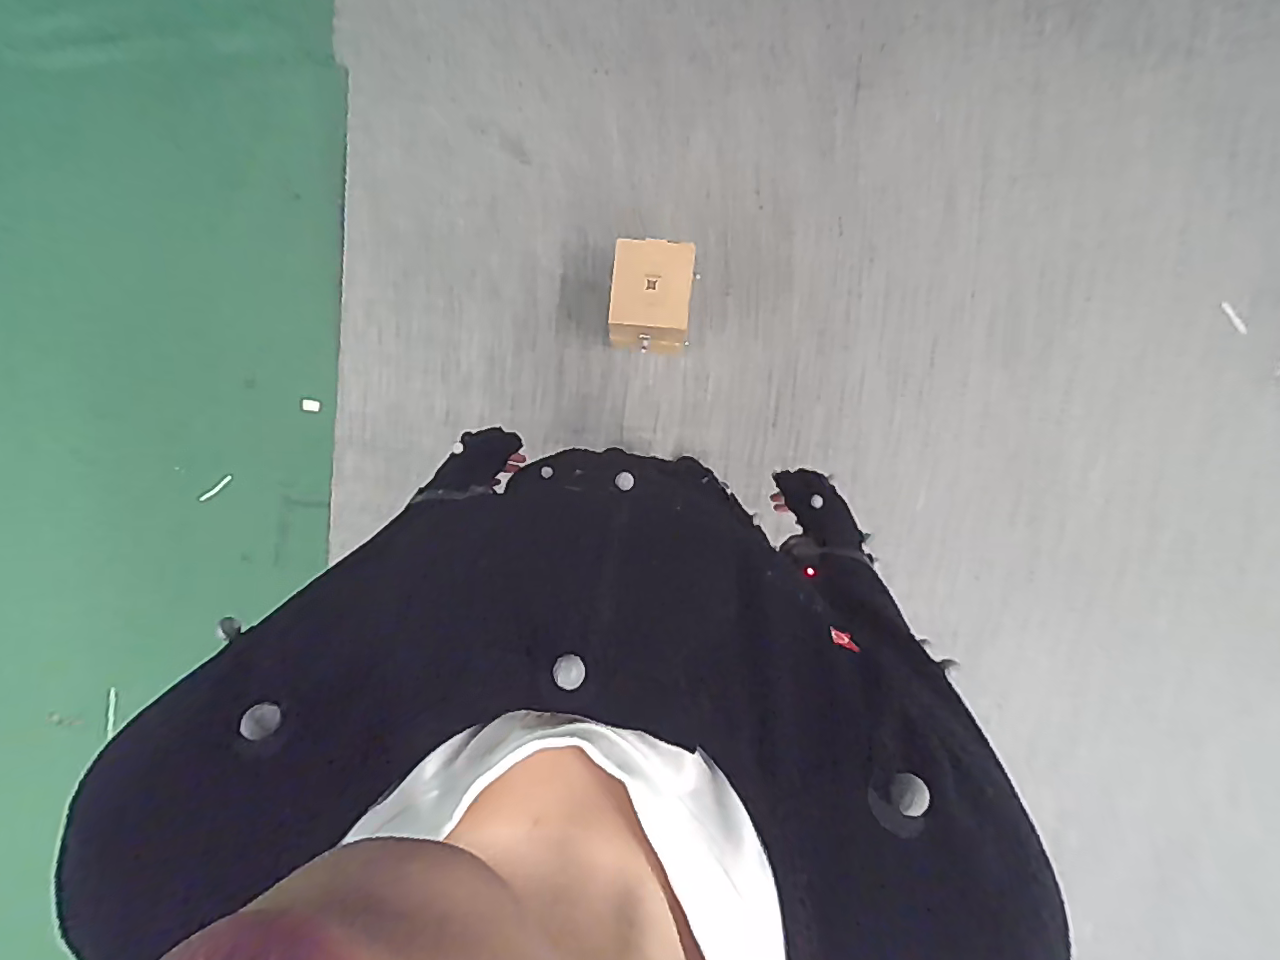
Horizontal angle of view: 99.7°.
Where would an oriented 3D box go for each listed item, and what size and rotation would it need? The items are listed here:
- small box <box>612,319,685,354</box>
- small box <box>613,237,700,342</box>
[{"bbox_3d":[0.035,-0.416,1.356,0.179,0.176,0.168,7,94,5],"label":"small box"},{"bbox_3d":[0.039,-0.413,1.194,0.168,0.176,0.179,6,95,5],"label":"small box"}]
